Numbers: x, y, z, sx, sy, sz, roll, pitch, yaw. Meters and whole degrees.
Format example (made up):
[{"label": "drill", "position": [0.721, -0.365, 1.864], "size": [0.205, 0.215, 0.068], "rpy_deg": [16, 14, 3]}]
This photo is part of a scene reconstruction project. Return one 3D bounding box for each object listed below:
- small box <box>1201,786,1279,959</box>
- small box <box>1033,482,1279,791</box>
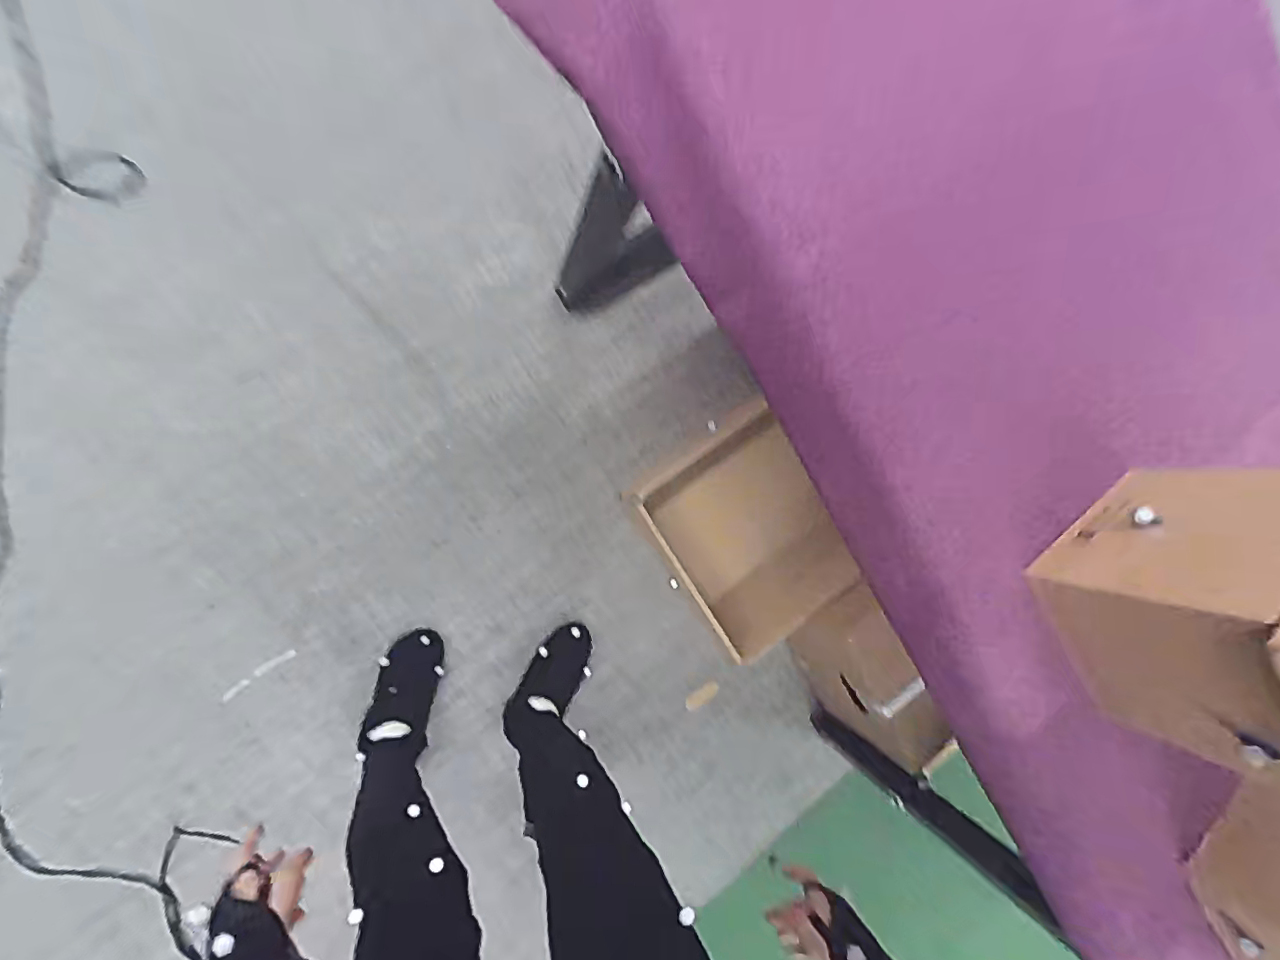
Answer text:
[{"label": "small box", "position": [0.679, 0.410, 0.487], "size": [0.179, 0.176, 0.168], "rpy_deg": [-37, 98, -12]}, {"label": "small box", "position": [0.472, 0.112, 0.430], "size": [0.168, 0.176, 0.179], "rpy_deg": [-36, 99, -13]}]
